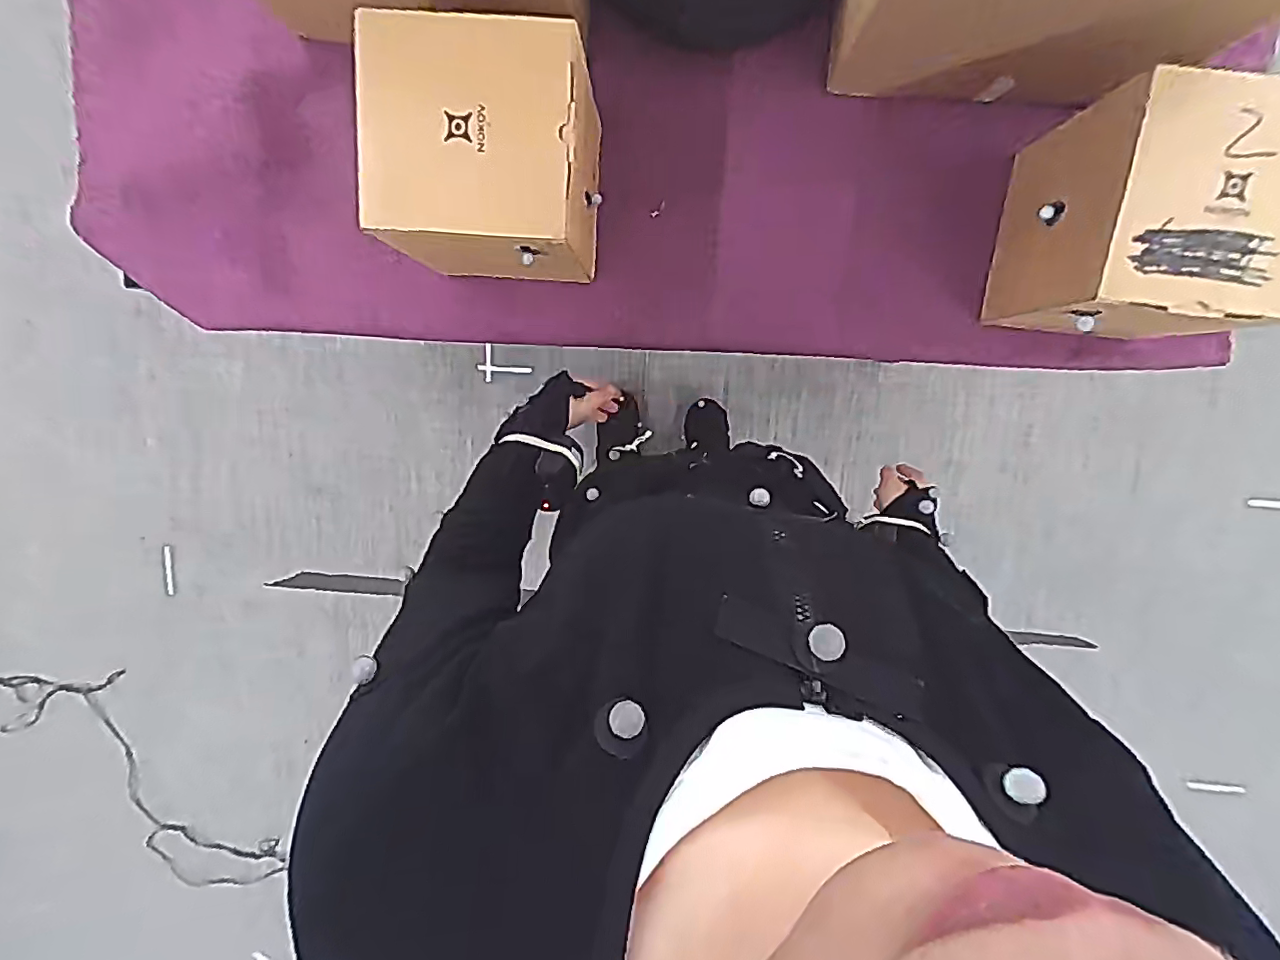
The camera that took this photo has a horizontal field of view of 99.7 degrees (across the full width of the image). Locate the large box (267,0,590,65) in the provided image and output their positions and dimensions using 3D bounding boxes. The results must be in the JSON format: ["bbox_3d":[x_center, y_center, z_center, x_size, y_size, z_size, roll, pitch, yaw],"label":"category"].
[{"bbox_3d":[-0.195,-0.617,0.394,0.320,0.320,0.408,5,103,1],"label":"large box"}]
